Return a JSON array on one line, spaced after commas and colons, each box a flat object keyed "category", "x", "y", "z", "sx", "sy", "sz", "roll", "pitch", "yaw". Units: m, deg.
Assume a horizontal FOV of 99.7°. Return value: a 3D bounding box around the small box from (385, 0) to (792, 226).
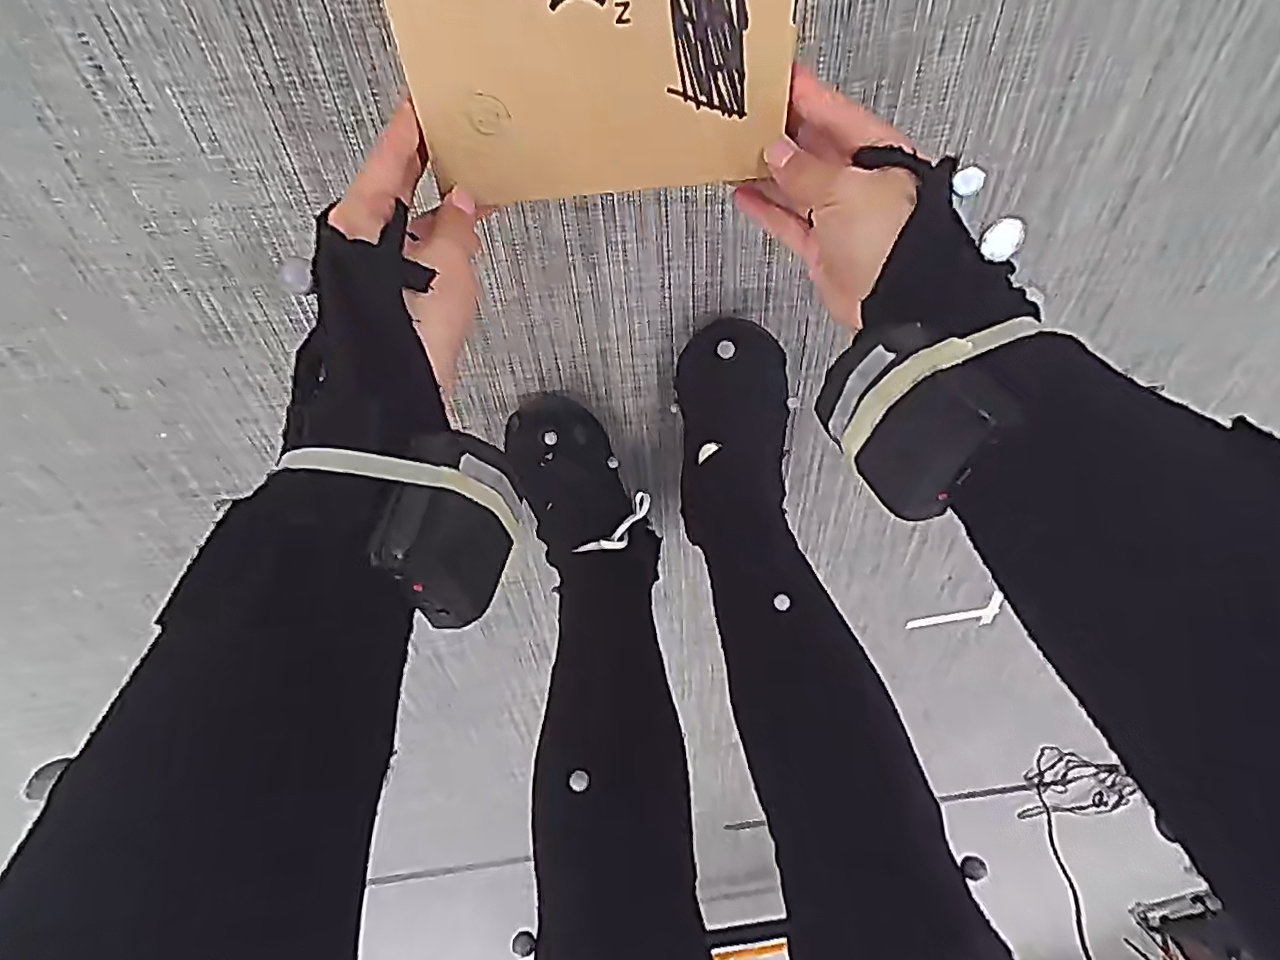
[{"category": "small box", "x": -0.027, "y": -0.256, "z": 0.289, "sx": 0.179, "sy": 0.176, "sz": 0.168, "roll": -6, "pitch": 133, "yaw": -2}]
